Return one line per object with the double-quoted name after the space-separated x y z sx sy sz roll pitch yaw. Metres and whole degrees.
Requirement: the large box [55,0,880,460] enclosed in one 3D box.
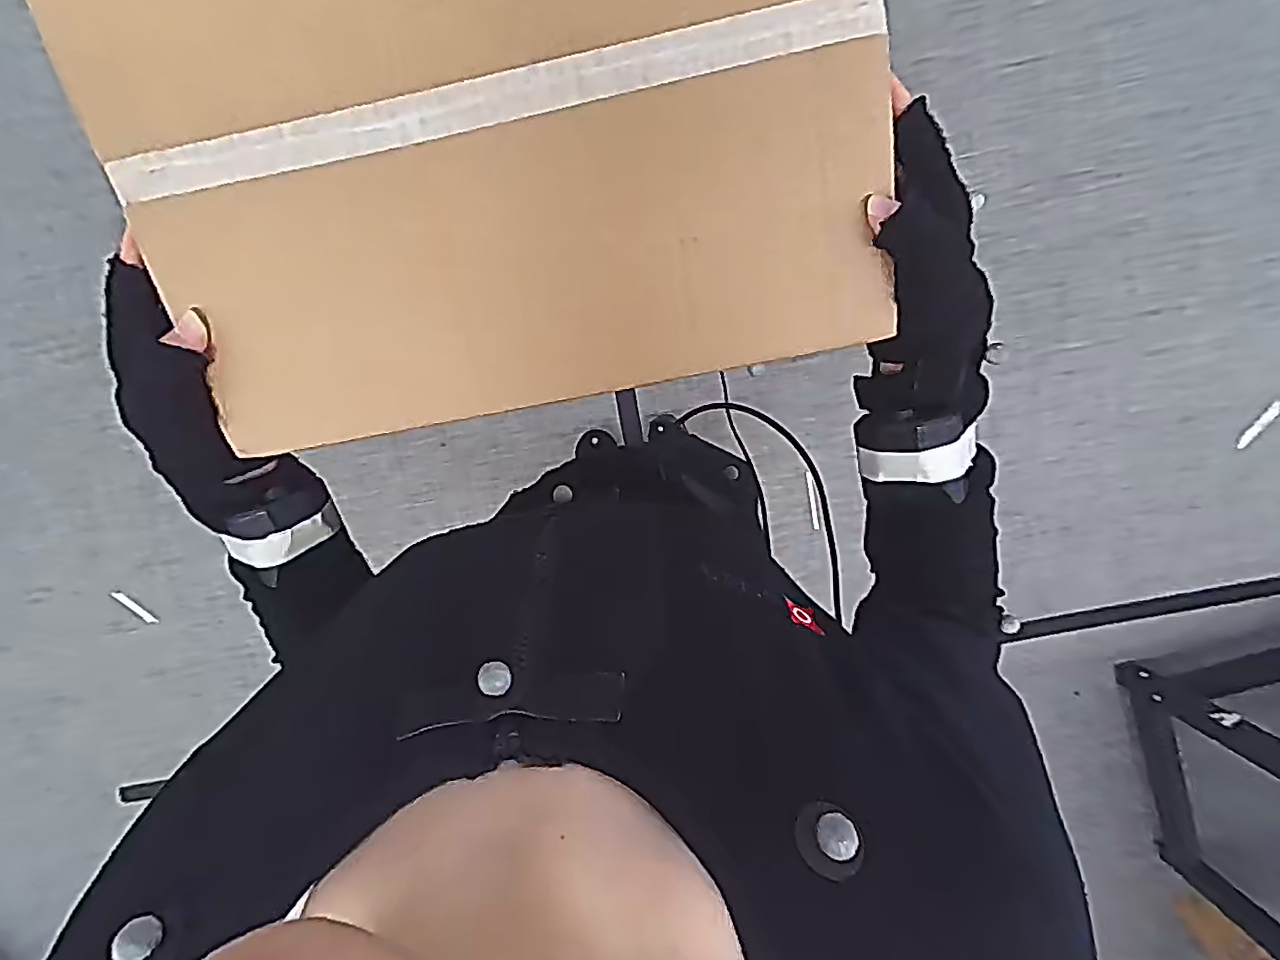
-0.078 -0.239 0.428 0.408 0.320 0.320 -10 108 4 "large box"
